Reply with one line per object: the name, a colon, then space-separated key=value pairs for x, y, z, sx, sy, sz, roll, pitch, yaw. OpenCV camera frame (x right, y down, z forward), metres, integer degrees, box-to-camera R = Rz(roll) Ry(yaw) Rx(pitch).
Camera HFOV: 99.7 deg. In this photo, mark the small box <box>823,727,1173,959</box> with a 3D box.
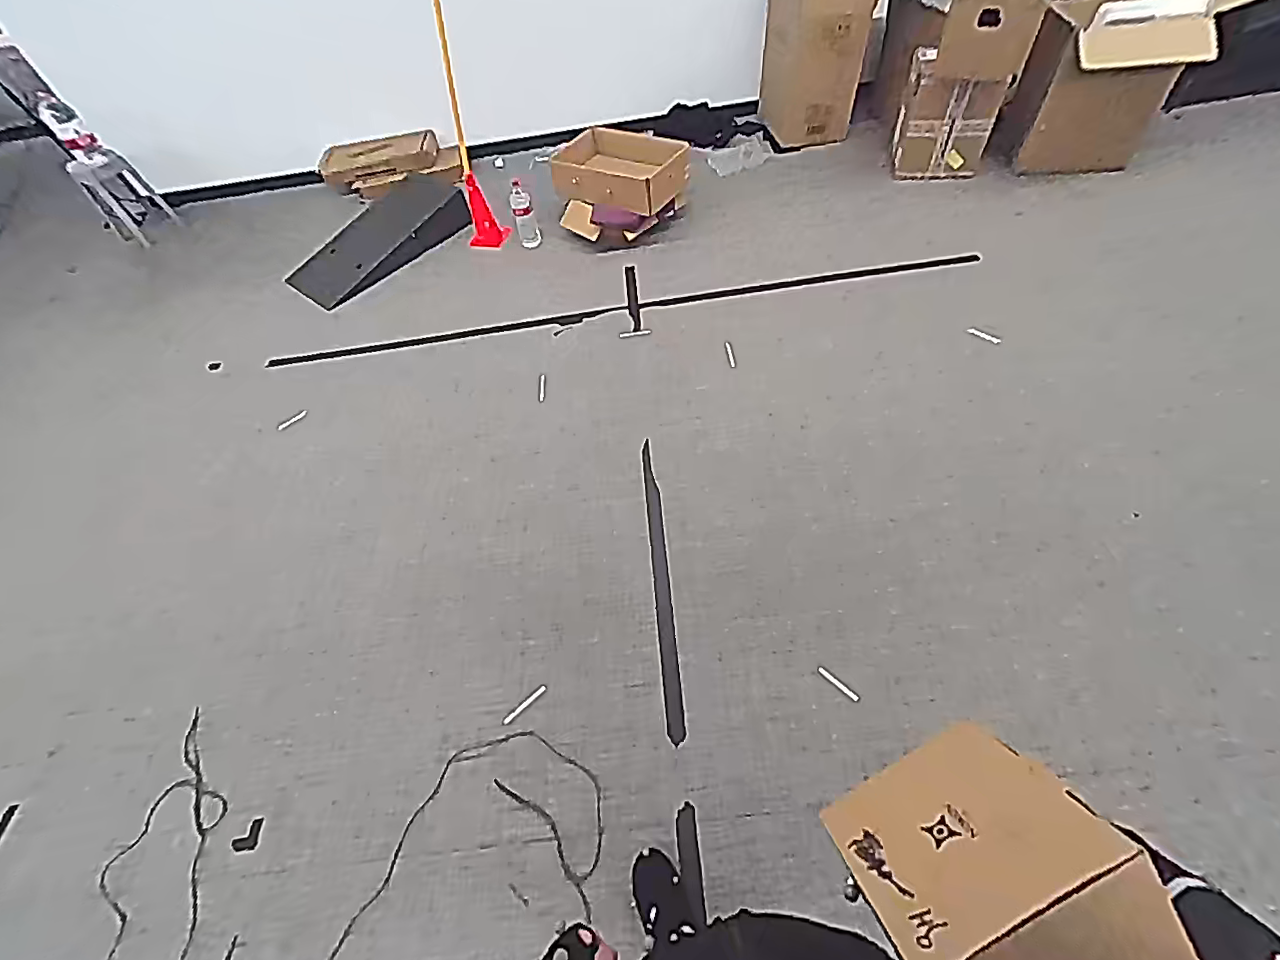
small box: x=0.294 y=0.359 z=0.455 sx=0.179 sy=0.168 sz=0.176 roll=-29 pitch=96 yaw=-2
